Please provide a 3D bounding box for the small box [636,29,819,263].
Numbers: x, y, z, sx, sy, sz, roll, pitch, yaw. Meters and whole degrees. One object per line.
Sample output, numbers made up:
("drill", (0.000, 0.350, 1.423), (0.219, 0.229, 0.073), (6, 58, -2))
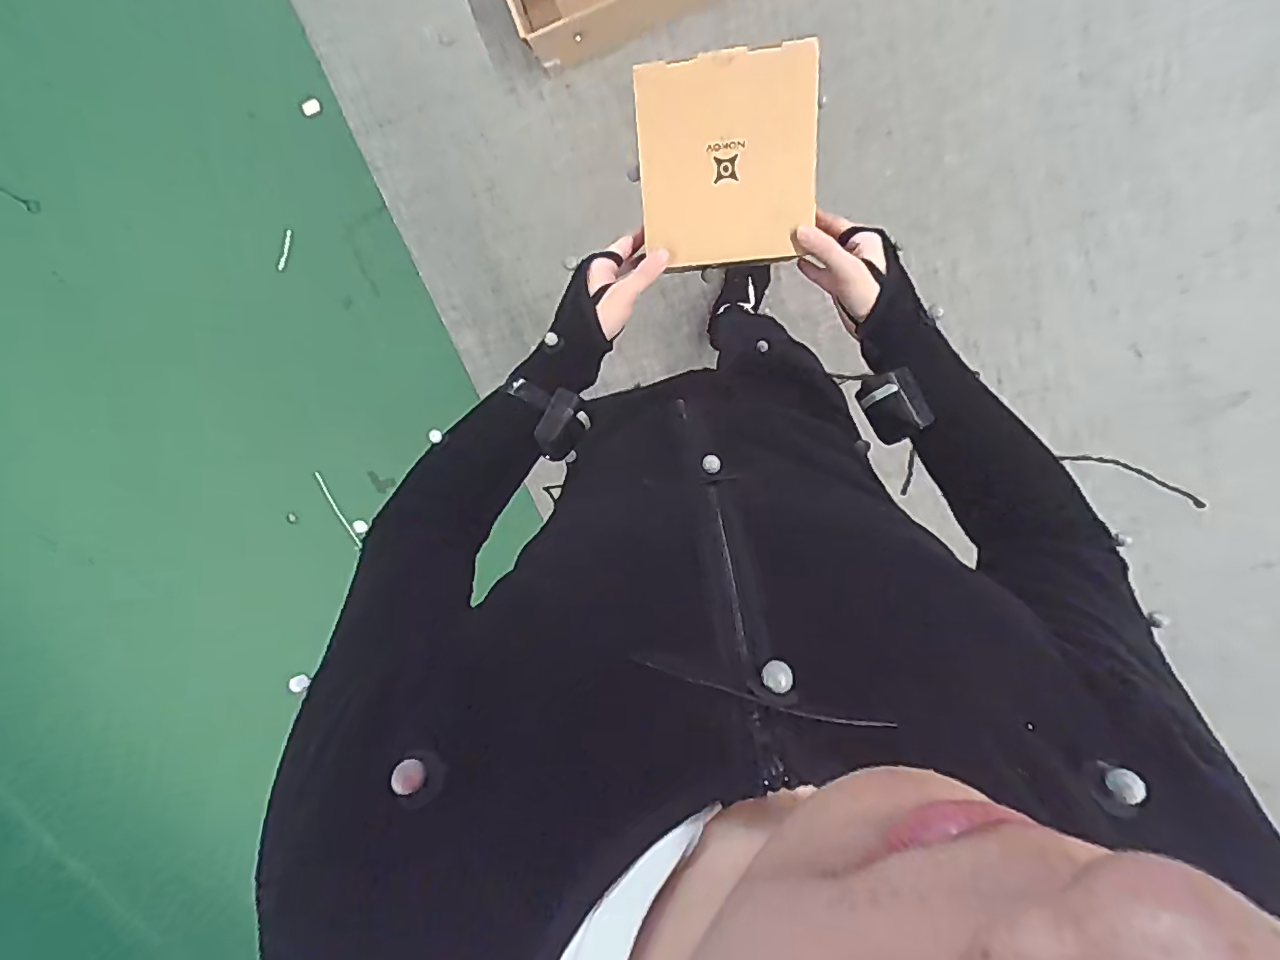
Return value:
("small box", (0.094, -0.335, 0.585), (0.168, 0.176, 0.179), (-2, 108, 9))
